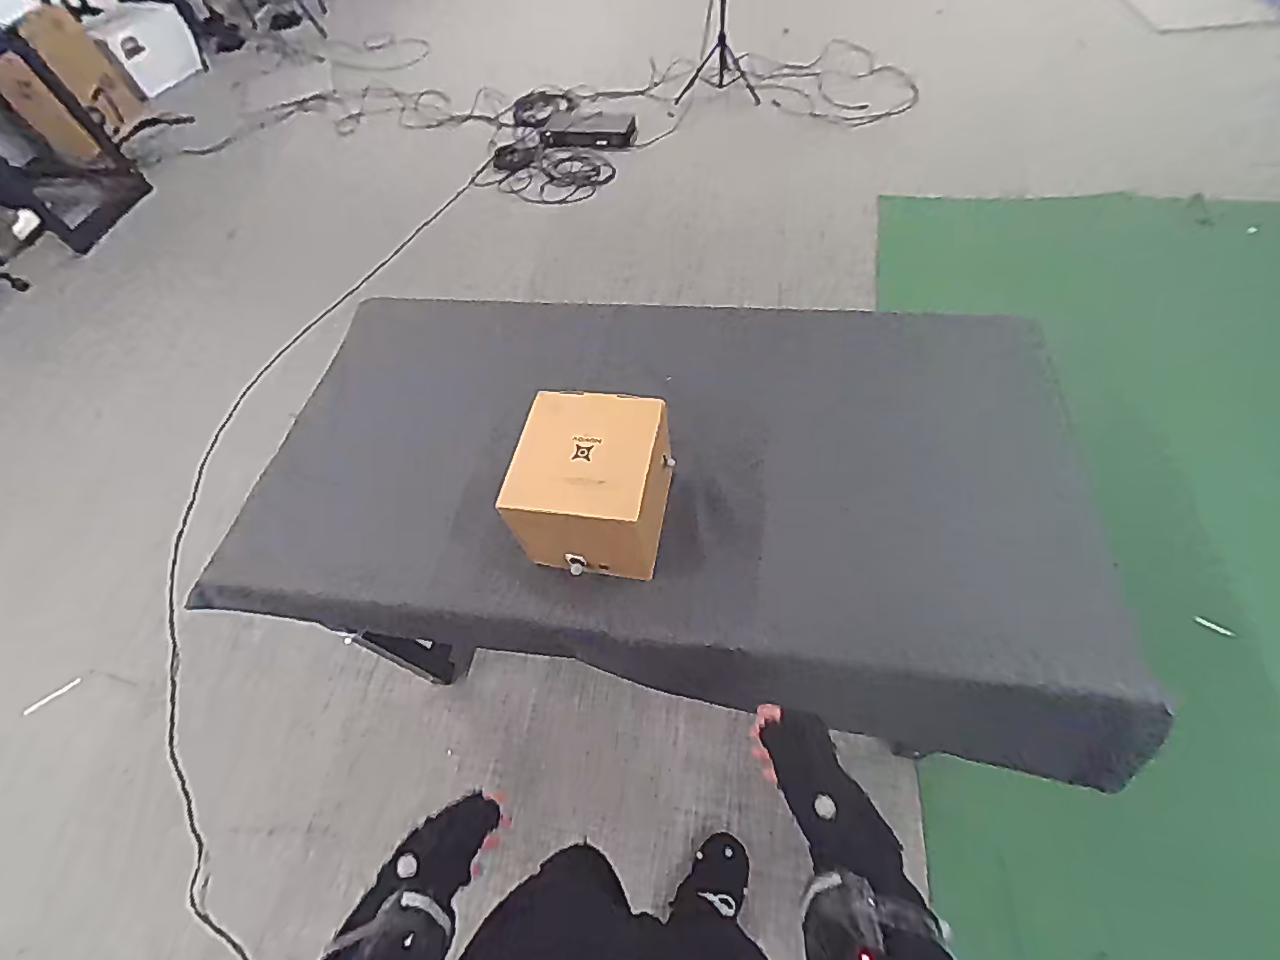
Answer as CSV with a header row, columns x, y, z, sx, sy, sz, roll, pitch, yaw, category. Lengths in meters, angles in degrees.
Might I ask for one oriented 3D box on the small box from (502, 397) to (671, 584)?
x,y,z,sx,sy,sz,roll,pitch,yaw,category
-0.054,0.016,0.706,0.168,0.176,0.179,4,58,12,small box
